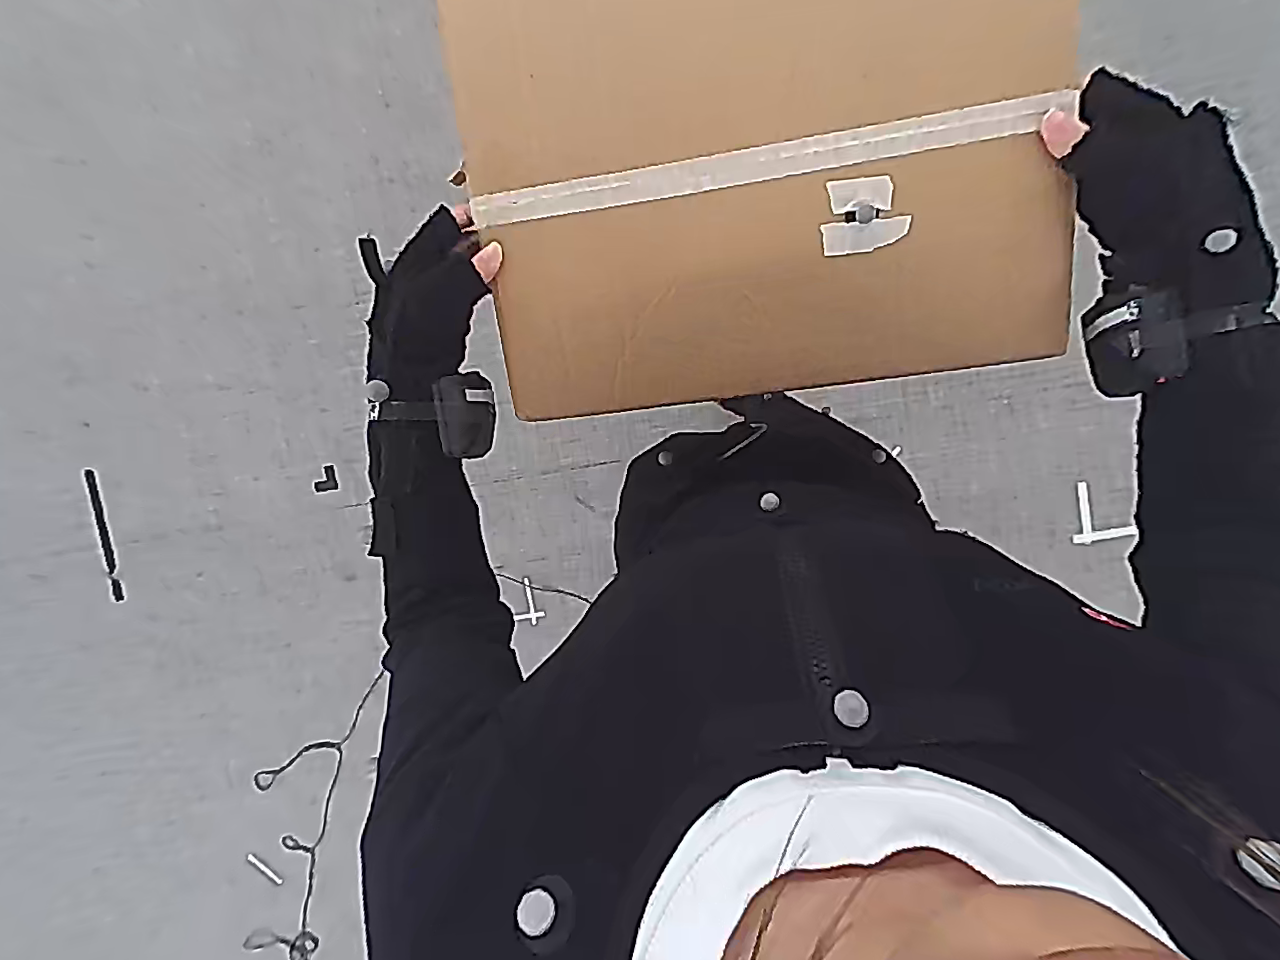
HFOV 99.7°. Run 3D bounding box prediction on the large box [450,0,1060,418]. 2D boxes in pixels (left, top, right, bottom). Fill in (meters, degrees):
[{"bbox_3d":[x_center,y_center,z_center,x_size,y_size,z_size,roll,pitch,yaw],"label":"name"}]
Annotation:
[{"bbox_3d":[0.093,-0.257,0.530,0.408,0.320,0.320,-7,104,6],"label":"large box"}]
